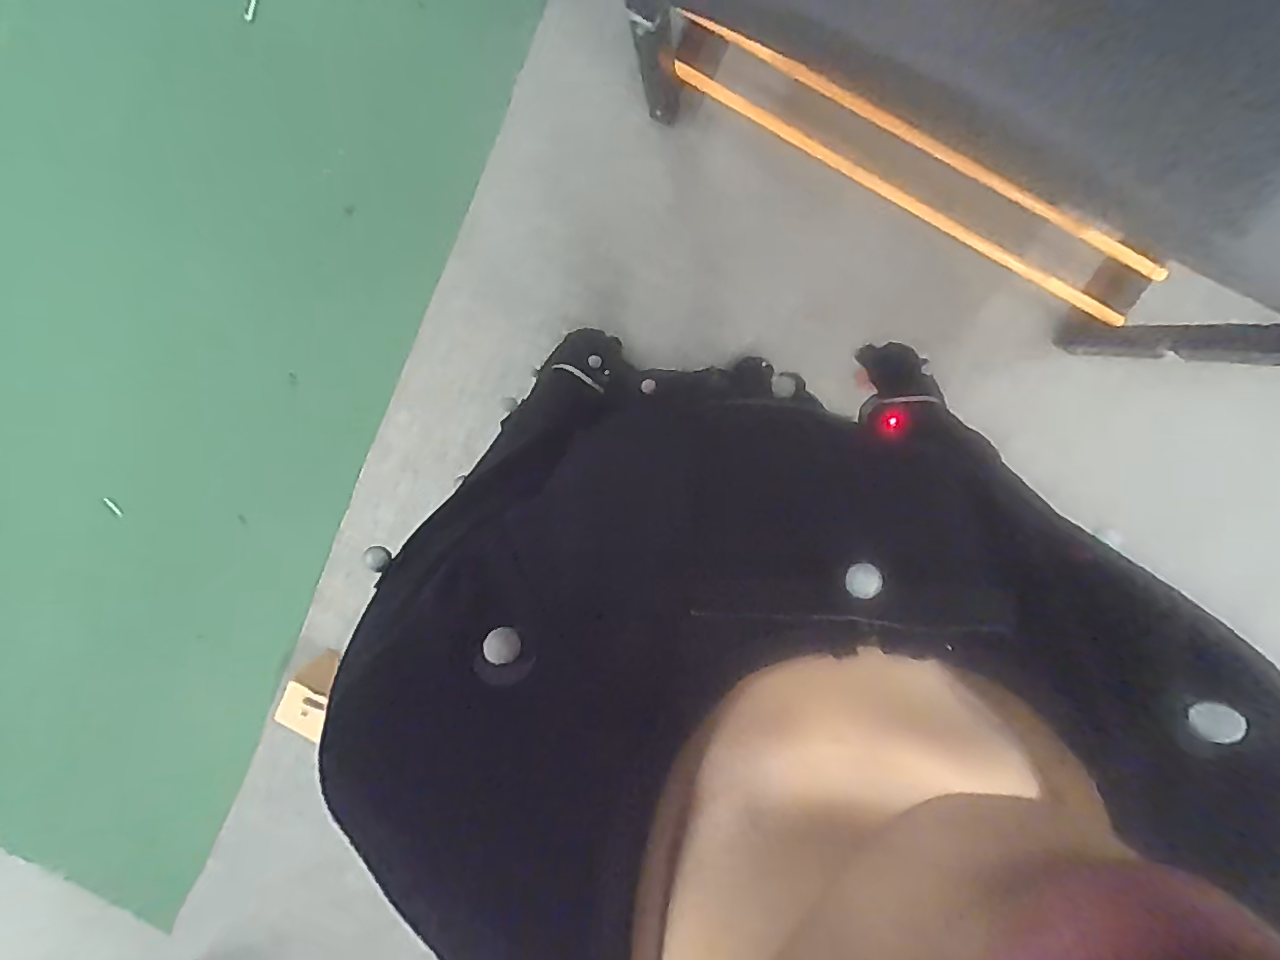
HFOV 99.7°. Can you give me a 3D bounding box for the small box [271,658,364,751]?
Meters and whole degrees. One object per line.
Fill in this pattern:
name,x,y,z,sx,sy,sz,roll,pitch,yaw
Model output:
small box,-1.008,0.700,1.707,0.168,0.176,0.179,31,106,-2
